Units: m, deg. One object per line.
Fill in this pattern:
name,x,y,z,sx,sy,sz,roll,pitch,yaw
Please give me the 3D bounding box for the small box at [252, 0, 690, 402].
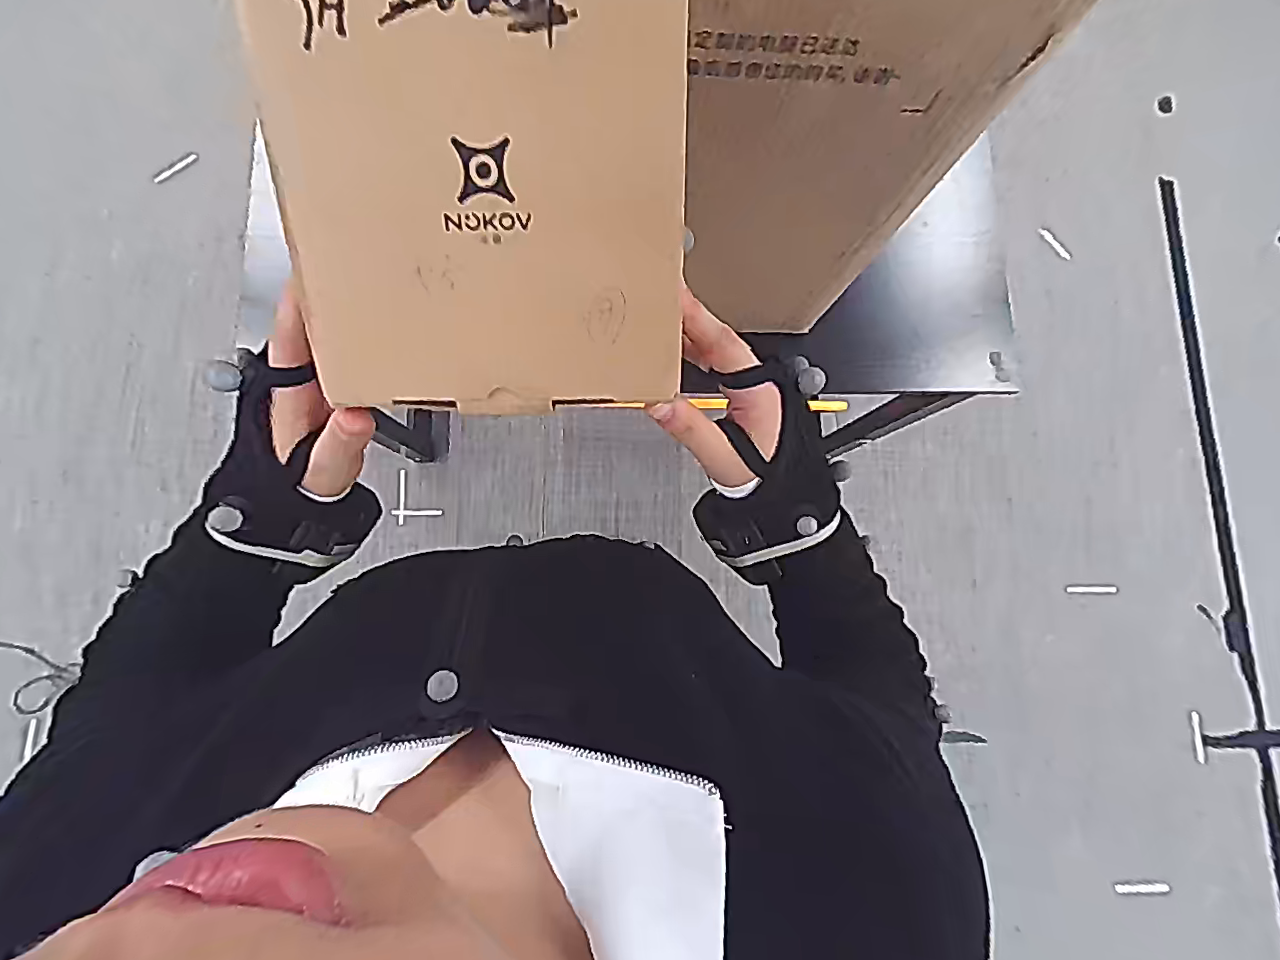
small box,-0.063,-0.149,0.301,0.168,0.176,0.179,-1,112,-1
